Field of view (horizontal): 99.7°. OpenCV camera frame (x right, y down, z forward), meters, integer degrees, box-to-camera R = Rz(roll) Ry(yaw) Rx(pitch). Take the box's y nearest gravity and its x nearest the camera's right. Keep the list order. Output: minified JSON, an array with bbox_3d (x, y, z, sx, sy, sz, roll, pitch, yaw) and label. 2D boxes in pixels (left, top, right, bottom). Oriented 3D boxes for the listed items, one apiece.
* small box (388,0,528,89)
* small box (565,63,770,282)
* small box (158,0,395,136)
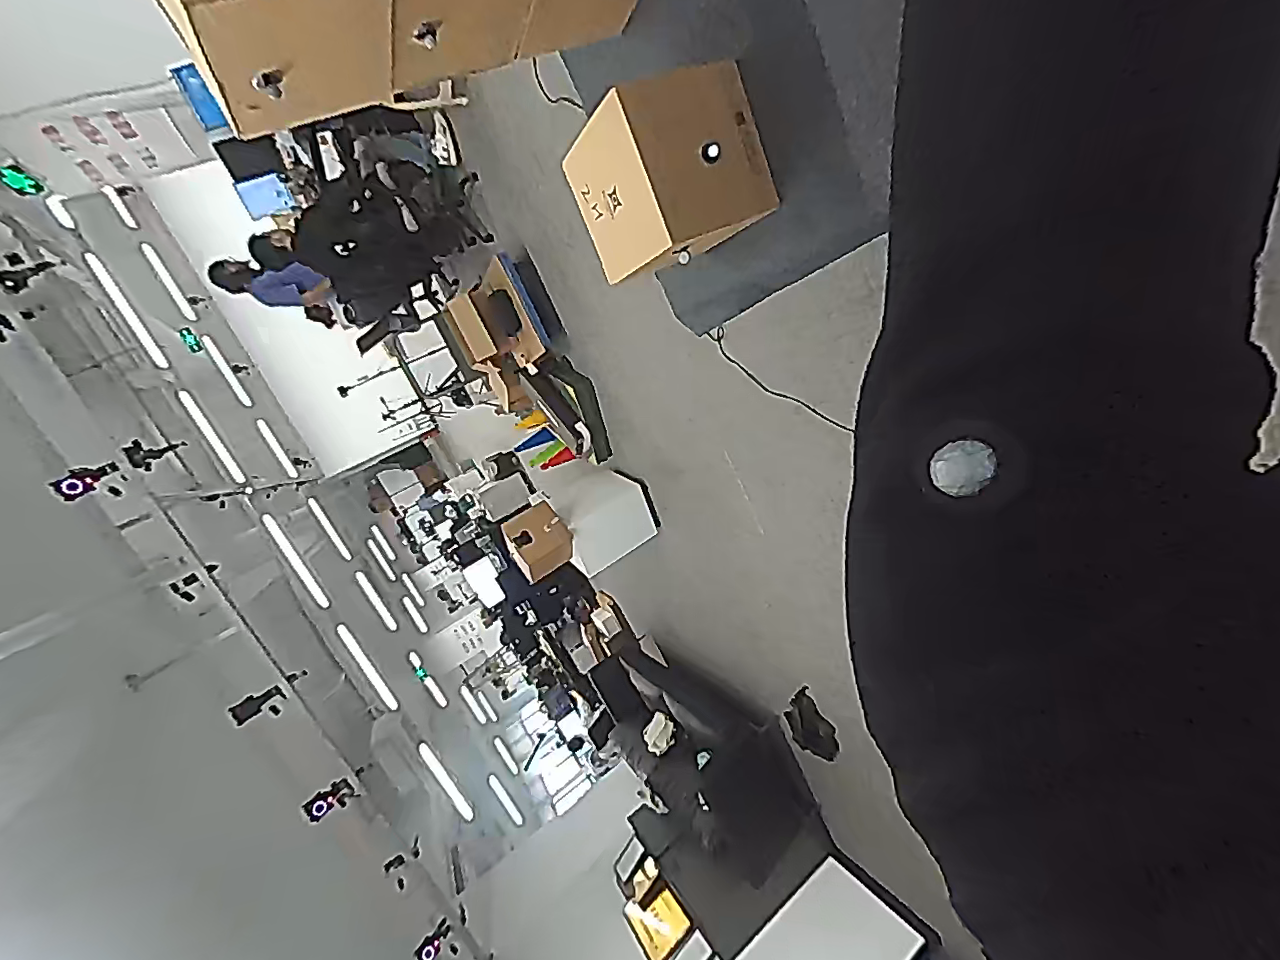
[{"bbox_3d":[-0.220,-0.553,0.550,0.168,0.176,0.179,60,158,-11],"label":"small box"},{"bbox_3d":[0.038,-0.374,0.672,0.179,0.176,0.168,8,124,64],"label":"small box"},{"bbox_3d":[-0.343,-0.462,0.490,0.168,0.176,0.179,61,158,-13],"label":"small box"}]
